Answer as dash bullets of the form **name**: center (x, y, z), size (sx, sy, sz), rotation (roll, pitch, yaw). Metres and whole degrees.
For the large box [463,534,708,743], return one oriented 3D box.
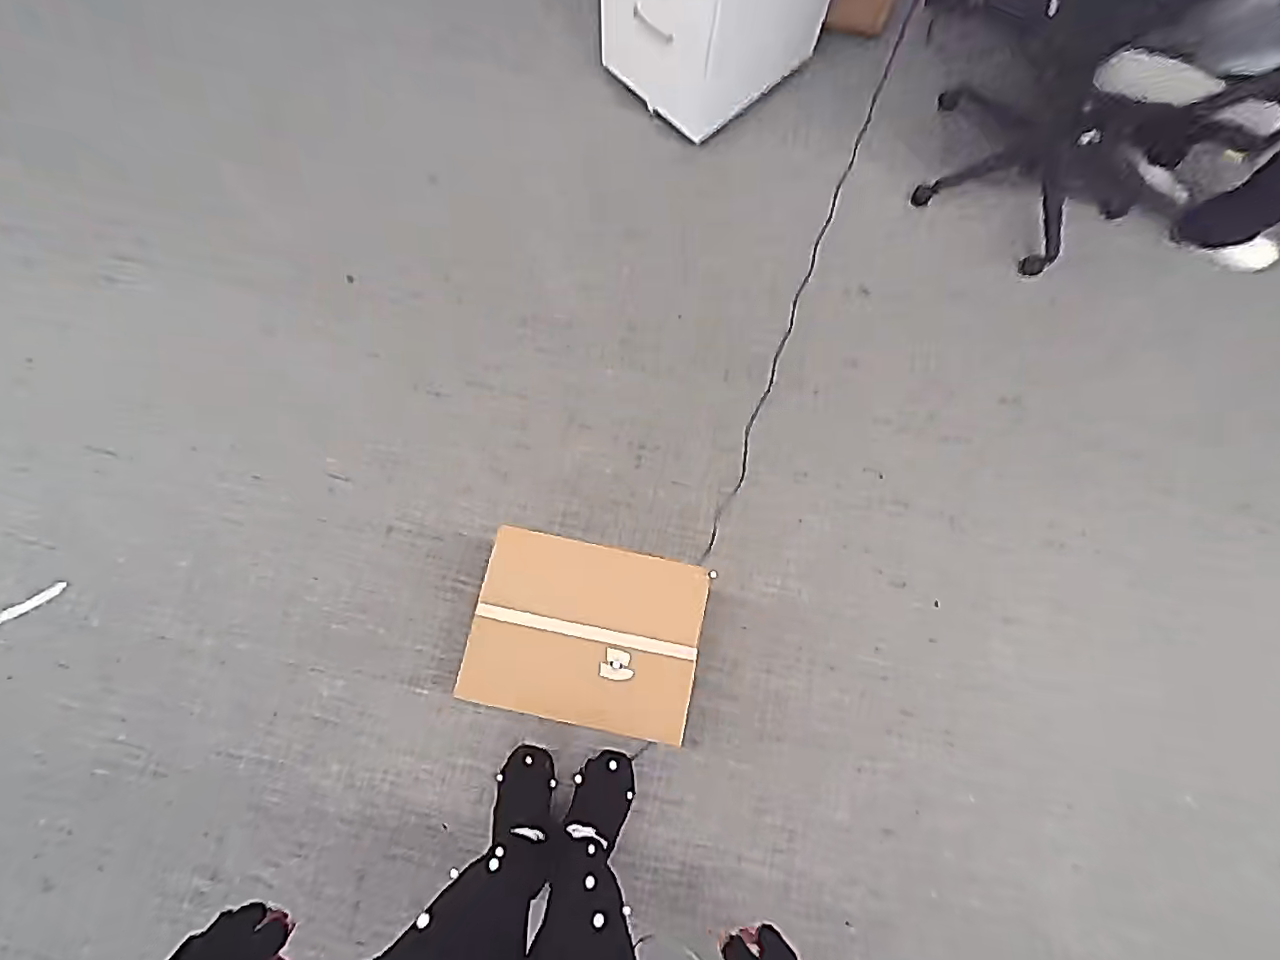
- **large box**: center (-0.102, 0.321, 1.131), size (0.408, 0.320, 0.320), rotation (12, 76, 0)
